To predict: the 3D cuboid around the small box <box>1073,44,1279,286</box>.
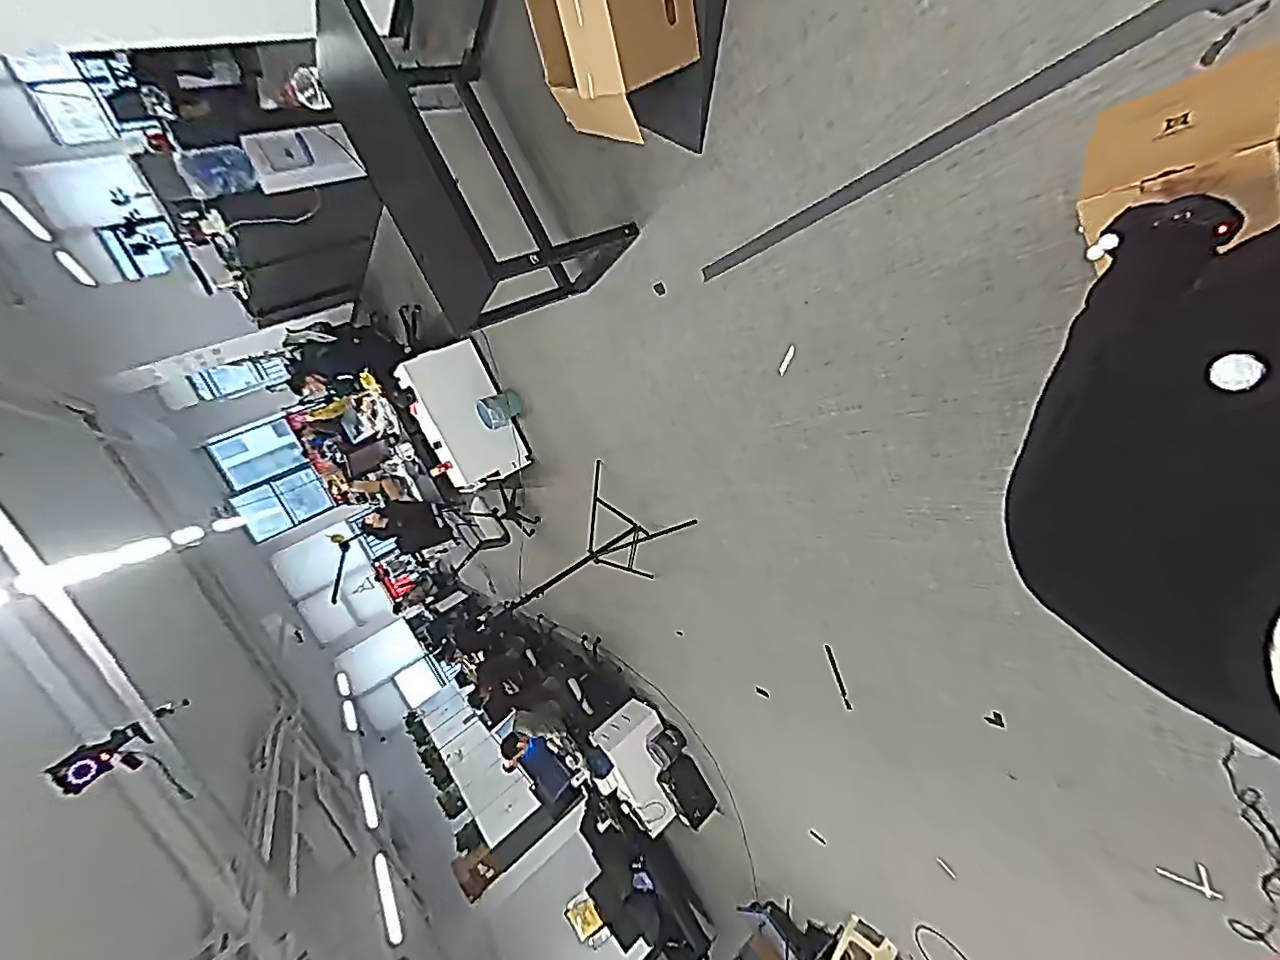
[{"bbox_3d":[0.677,-0.367,0.673,0.176,0.179,0.168,38,160,-32],"label":"small box"}]
